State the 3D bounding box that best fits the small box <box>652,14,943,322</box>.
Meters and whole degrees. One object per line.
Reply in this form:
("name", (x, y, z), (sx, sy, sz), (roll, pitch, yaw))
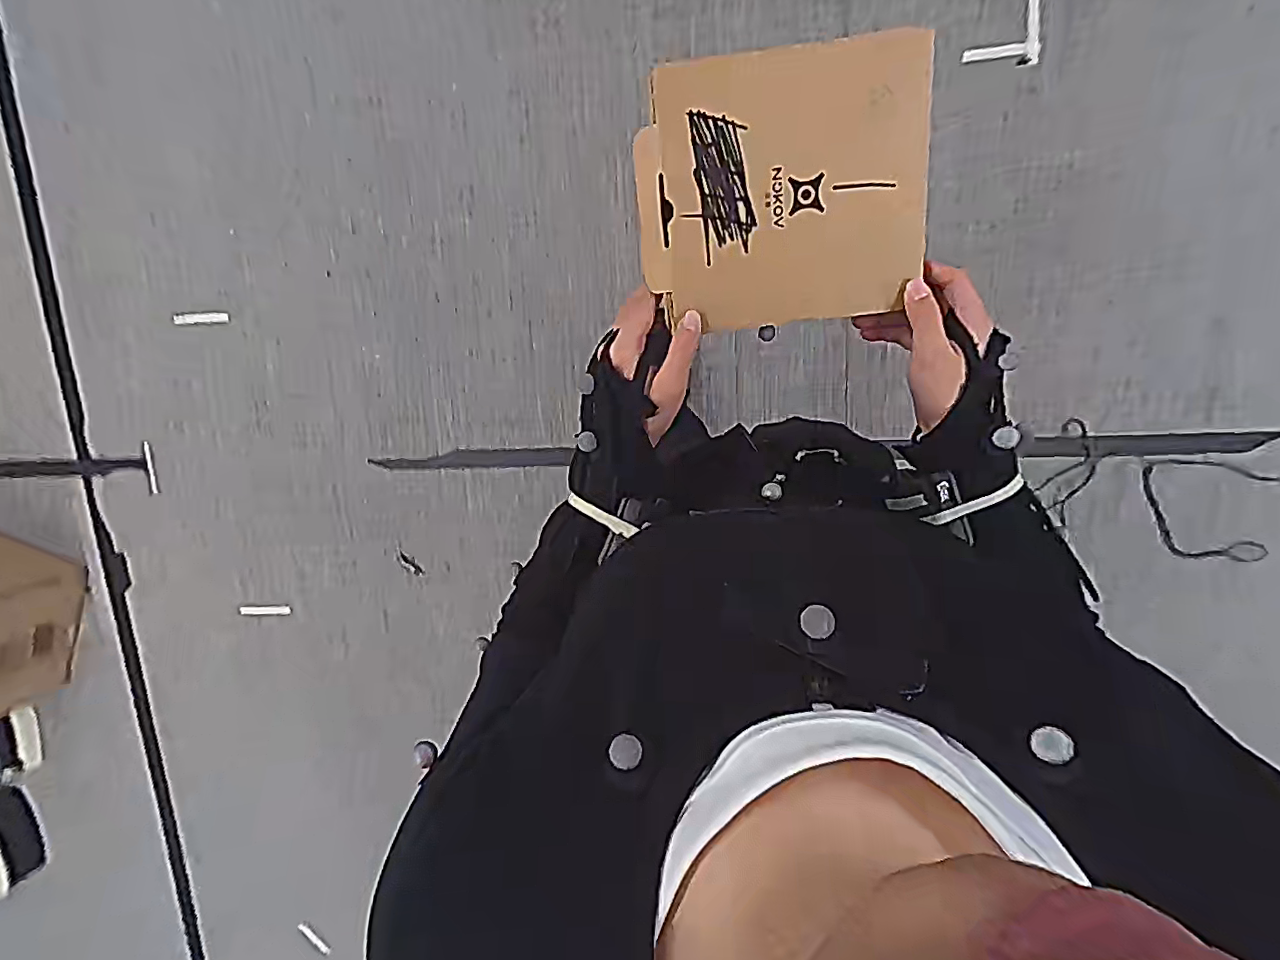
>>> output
("small box", (0.104, -0.218, 0.426), (0.179, 0.176, 0.168), (-5, 109, 3))
